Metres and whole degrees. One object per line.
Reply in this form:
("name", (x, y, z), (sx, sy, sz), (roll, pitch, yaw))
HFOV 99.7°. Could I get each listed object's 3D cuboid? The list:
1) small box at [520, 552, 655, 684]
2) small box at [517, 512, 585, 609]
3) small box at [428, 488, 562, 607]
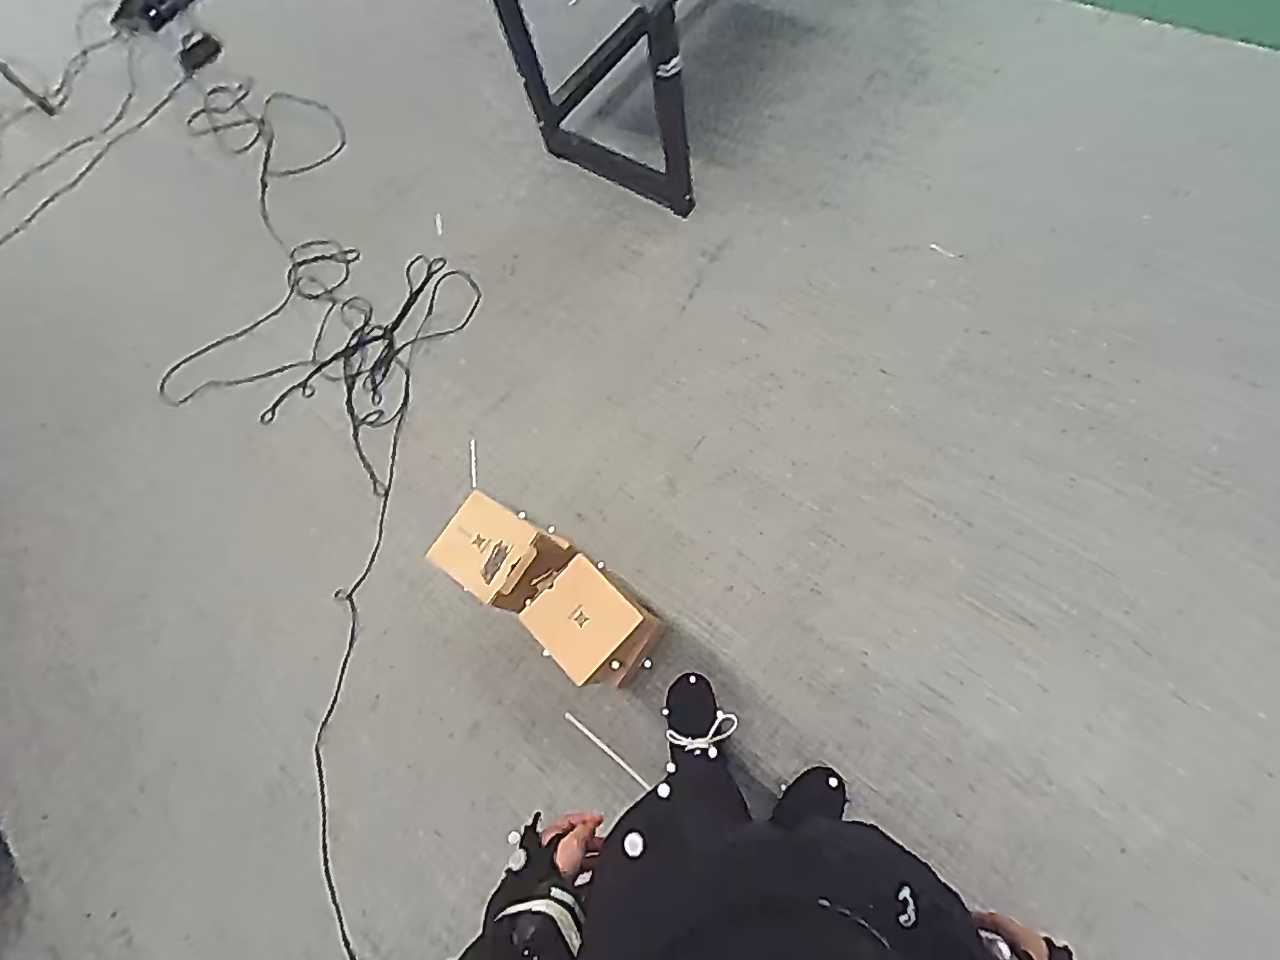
("small box", (-0.092, 0.265, 1.044), (0.179, 0.176, 0.168), (41, 84, 20))
("small box", (-0.248, 0.201, 1.266), (0.168, 0.176, 0.179), (25, 77, 18))
("small box", (-0.288, 0.146, 1.115), (0.179, 0.176, 0.168), (31, 79, 19))
